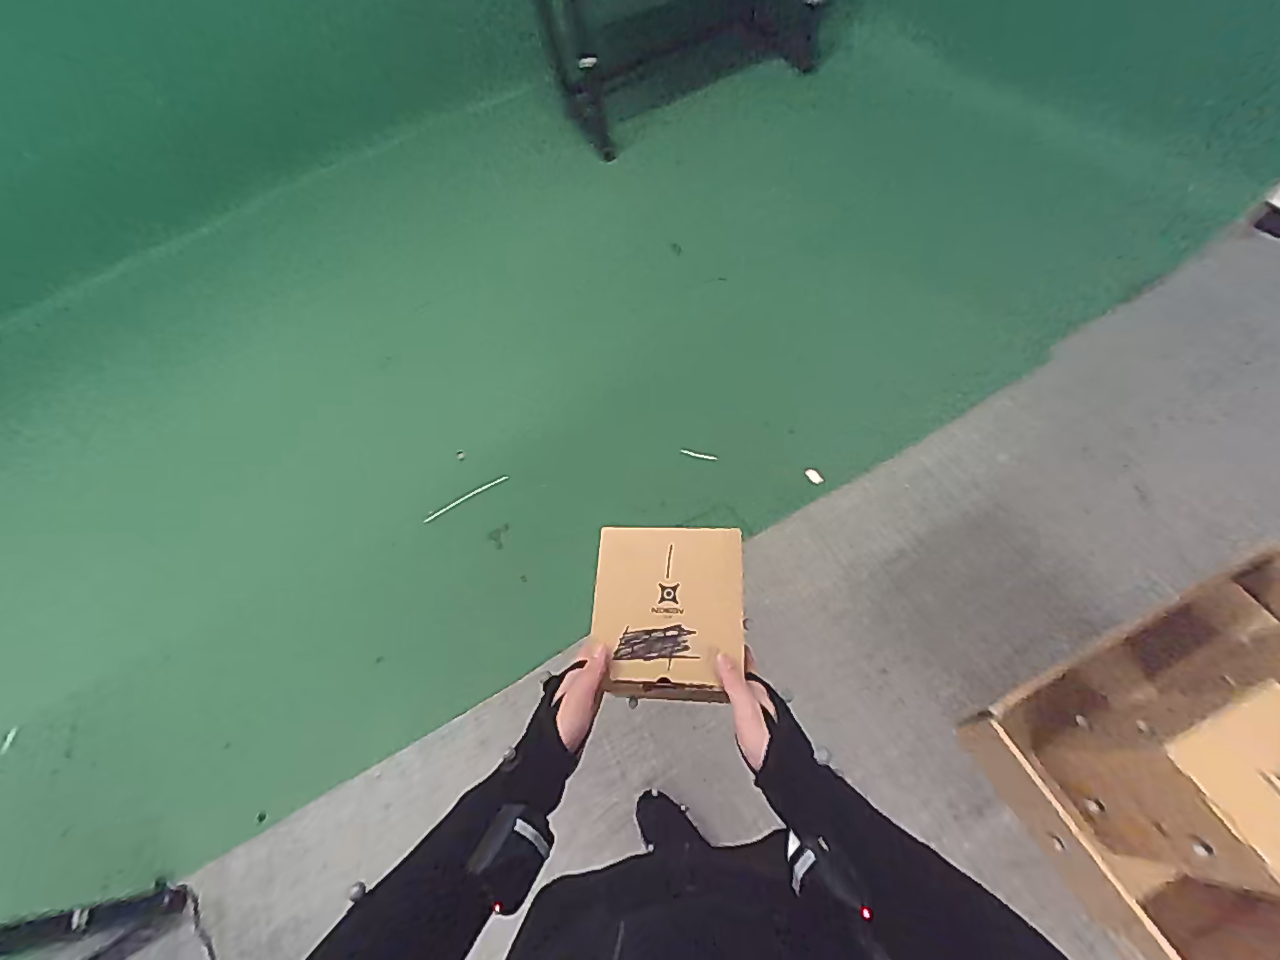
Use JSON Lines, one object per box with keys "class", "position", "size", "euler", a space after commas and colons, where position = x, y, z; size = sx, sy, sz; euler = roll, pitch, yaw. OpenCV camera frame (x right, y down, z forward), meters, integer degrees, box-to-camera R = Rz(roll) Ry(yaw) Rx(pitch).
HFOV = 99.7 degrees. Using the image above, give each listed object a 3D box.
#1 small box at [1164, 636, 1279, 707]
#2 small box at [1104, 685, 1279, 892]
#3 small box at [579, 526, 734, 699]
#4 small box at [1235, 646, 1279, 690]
{"class": "small box", "position": [1.010, 0.358, 0.853], "size": [0.179, 0.176, 0.168], "euler": [-27, 60, -3]}
{"class": "small box", "position": [0.754, 0.390, 0.691], "size": [0.179, 0.176, 0.168], "euler": [-26, 61, -5]}
{"class": "small box", "position": [0.031, 0.168, 0.664], "size": [0.168, 0.176, 0.179], "euler": [0, 62, 8]}
{"class": "small box", "position": [0.979, 0.283, 0.712], "size": [0.179, 0.176, 0.168], "euler": [-28, 61, -3]}
